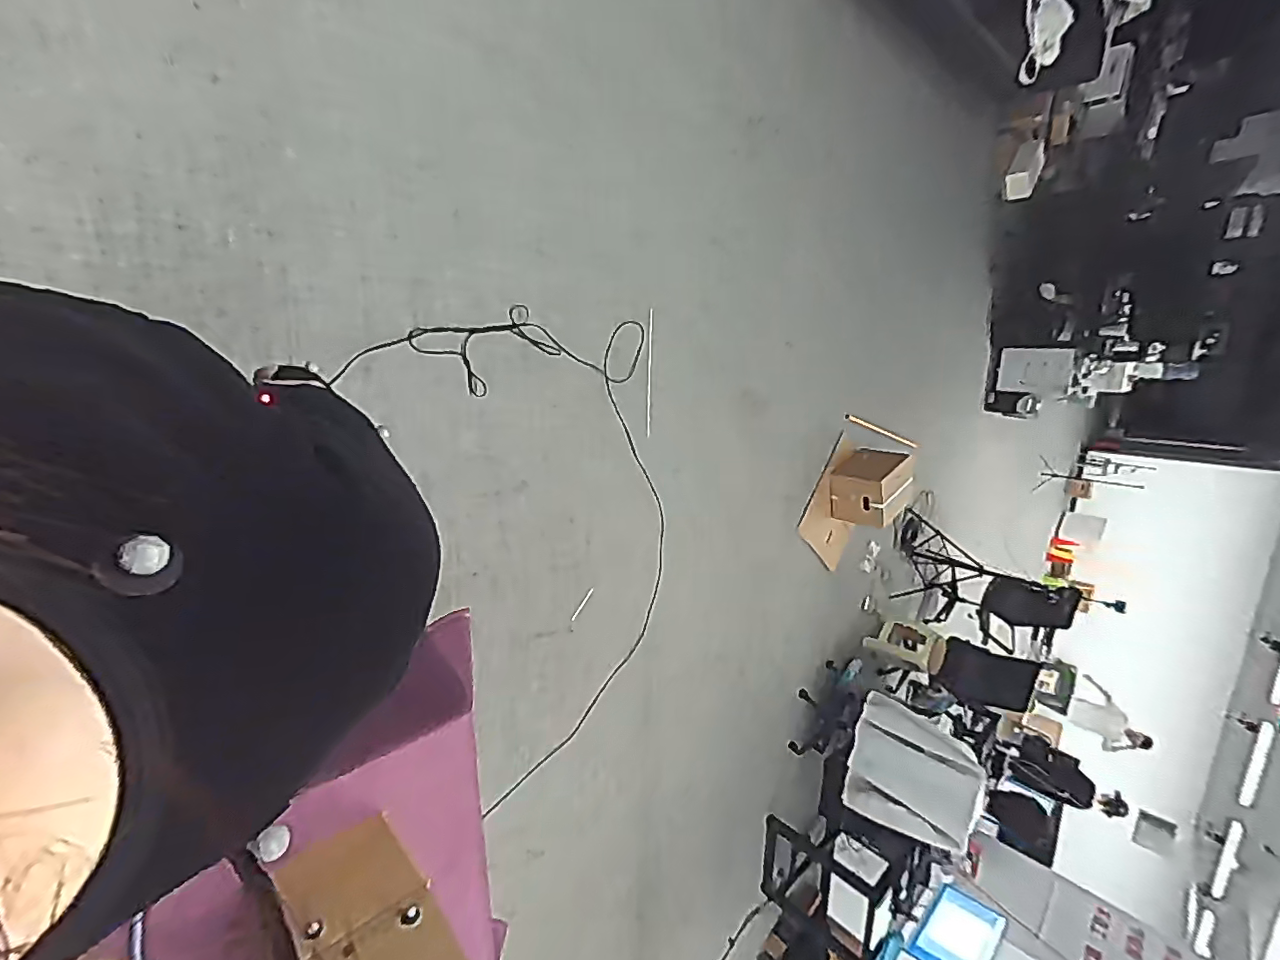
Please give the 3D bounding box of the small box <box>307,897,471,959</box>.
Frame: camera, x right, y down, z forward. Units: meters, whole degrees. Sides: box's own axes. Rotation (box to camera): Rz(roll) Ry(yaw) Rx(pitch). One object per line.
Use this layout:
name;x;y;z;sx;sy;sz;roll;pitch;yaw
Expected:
small box;-0.298;0.656;0.649;0.168;0.176;0.179;-11;110;-40

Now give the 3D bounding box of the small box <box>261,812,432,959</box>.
small box;-0.410;0.622;0.765;0.179;0.176;0.168;-11;108;-41
